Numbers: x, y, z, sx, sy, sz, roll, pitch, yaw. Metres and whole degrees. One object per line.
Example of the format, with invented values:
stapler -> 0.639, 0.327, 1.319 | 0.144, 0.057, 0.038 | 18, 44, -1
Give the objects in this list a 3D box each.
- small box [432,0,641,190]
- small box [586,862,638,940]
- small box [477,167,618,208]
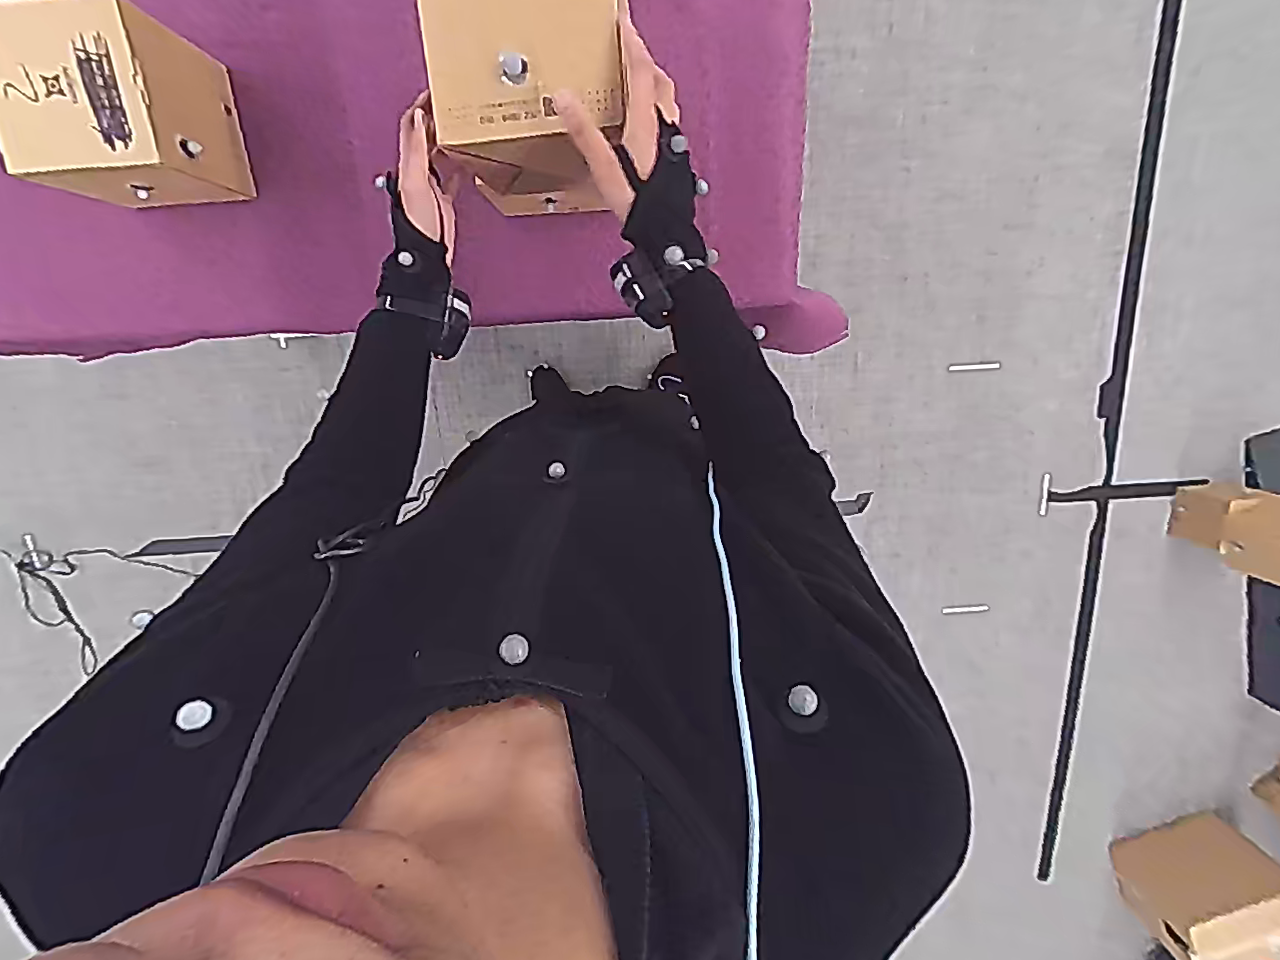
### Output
small box -> -0.089, -0.395, 0.524 | 0.168, 0.179, 0.176 | -3, 106, 5
small box -> -0.104, 1.549, 1.998 | 0.179, 0.176, 0.168 | 3, 105, -4
small box -> -0.114, -0.457, 0.690 | 0.168, 0.176, 0.179 | -4, 105, -1
